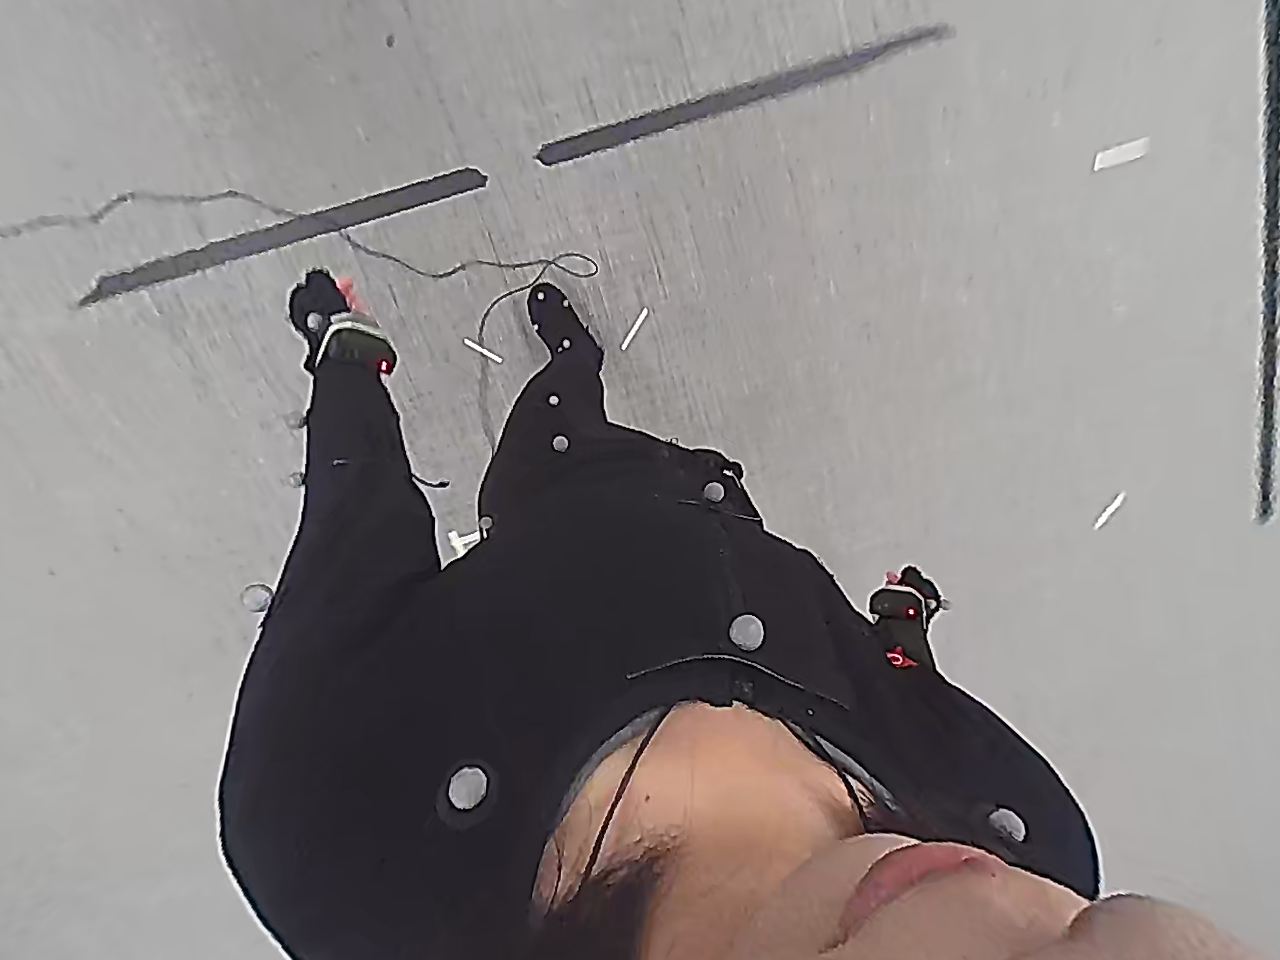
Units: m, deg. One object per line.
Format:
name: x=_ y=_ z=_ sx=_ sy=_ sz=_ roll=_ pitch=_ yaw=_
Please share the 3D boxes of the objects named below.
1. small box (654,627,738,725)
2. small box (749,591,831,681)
small box: x=0.159 y=0.571 z=1.596 sx=0.168 sy=0.176 sz=0.179 roll=-36 pitch=104 yaw=3
small box: x=0.432 y=0.453 z=1.591 sx=0.179 sy=0.176 sz=0.168 roll=-19 pitch=105 yaw=0
